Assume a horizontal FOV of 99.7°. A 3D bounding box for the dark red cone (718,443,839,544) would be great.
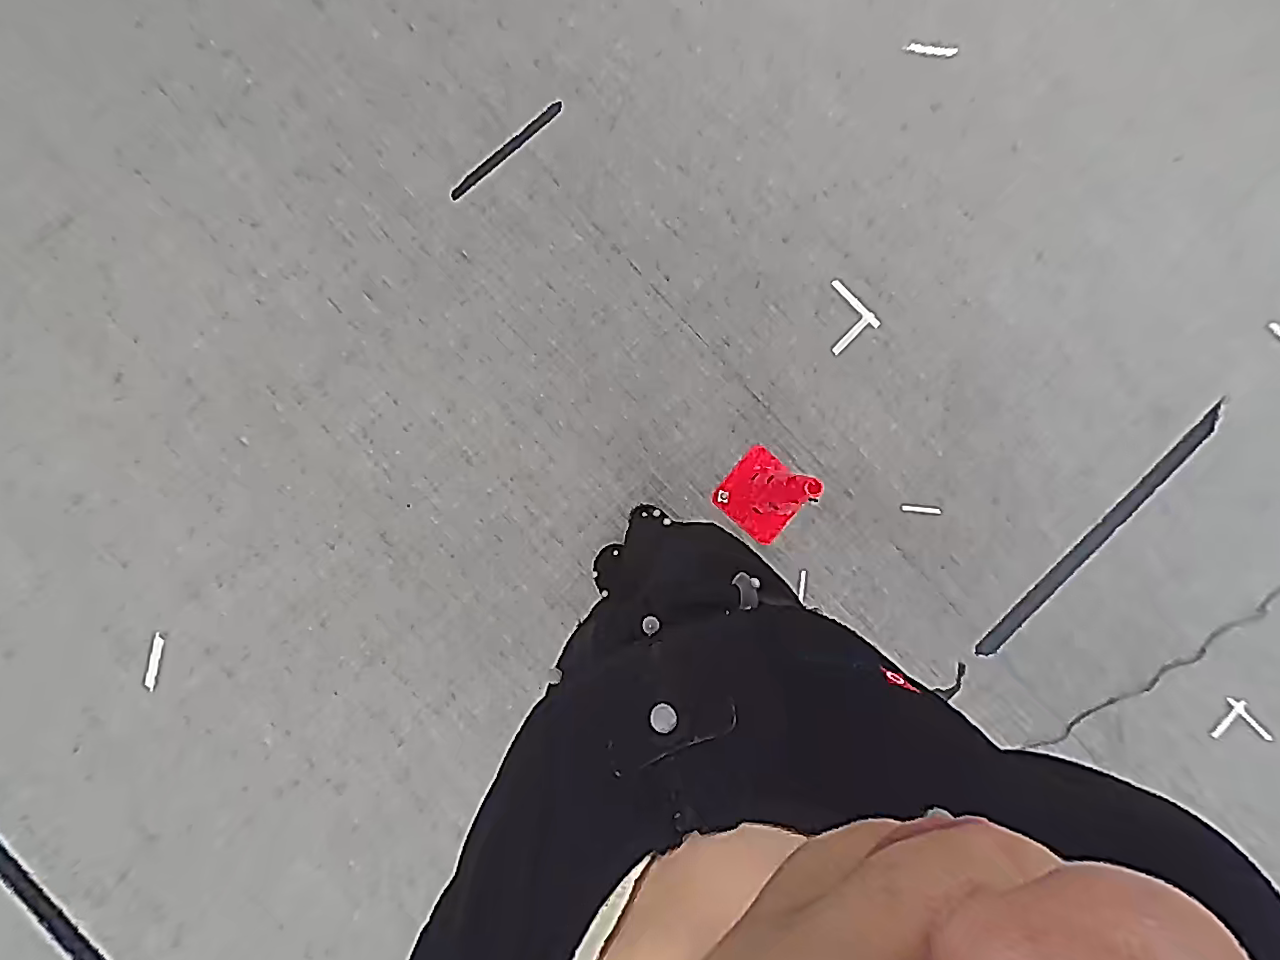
[{"bbox_3d":[0.335,0.022,1.205,0.201,0.394,0.202,40,84,-2],"label":"dark red cone"}]
